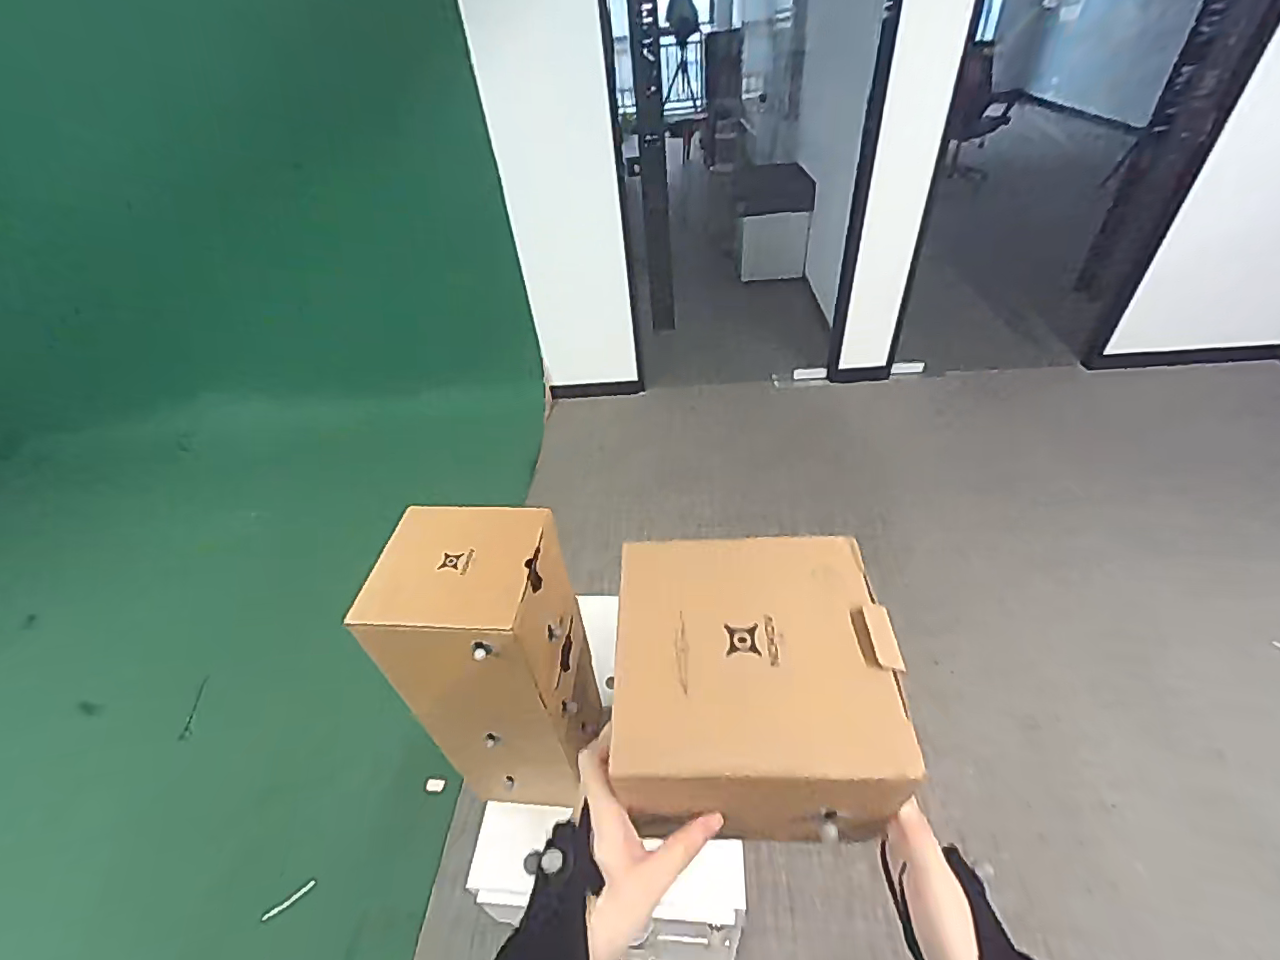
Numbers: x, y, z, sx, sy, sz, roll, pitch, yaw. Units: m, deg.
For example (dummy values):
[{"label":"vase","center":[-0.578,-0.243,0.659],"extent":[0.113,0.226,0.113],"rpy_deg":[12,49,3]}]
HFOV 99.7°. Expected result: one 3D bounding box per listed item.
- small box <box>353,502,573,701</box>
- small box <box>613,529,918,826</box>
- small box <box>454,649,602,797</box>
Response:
[{"label":"small box","center":[-0.188,0.142,0.637],"extent":[0.179,0.176,0.168],"rpy_deg":[1,42,6]},{"label":"small box","center":[0.080,0.155,0.420],"extent":[0.179,0.176,0.168],"rpy_deg":[-3,46,5]},{"label":"small box","center":[-0.164,0.383,0.858],"extent":[0.179,0.176,0.168],"rpy_deg":[2,43,5]}]
